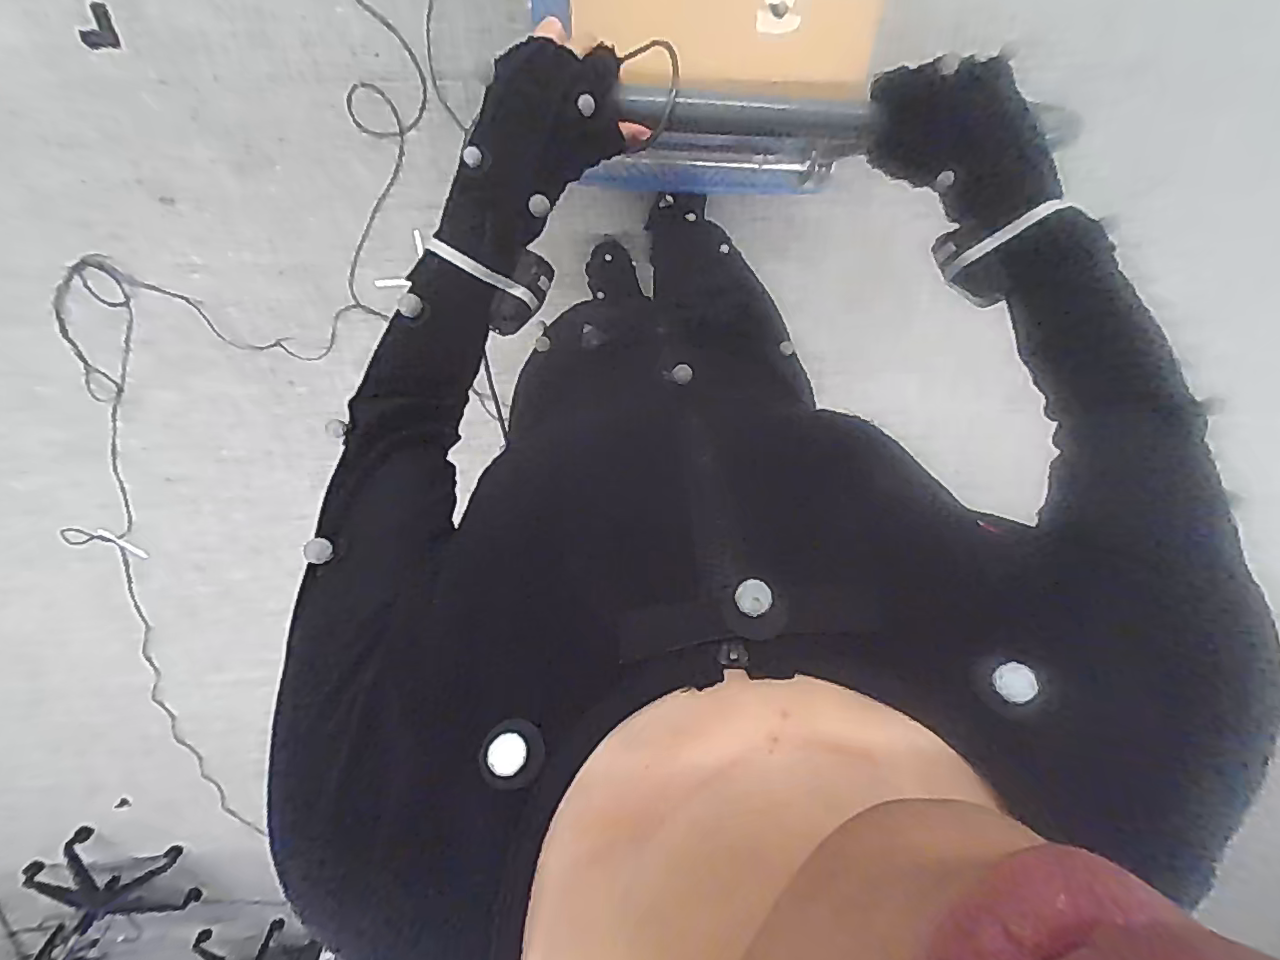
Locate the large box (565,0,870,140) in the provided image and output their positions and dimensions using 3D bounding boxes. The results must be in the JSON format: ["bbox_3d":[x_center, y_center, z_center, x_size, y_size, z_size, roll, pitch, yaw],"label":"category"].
[{"bbox_3d":[0.090,-0.709,0.811,0.408,0.320,0.320,-1,119,-6],"label":"large box"}]
